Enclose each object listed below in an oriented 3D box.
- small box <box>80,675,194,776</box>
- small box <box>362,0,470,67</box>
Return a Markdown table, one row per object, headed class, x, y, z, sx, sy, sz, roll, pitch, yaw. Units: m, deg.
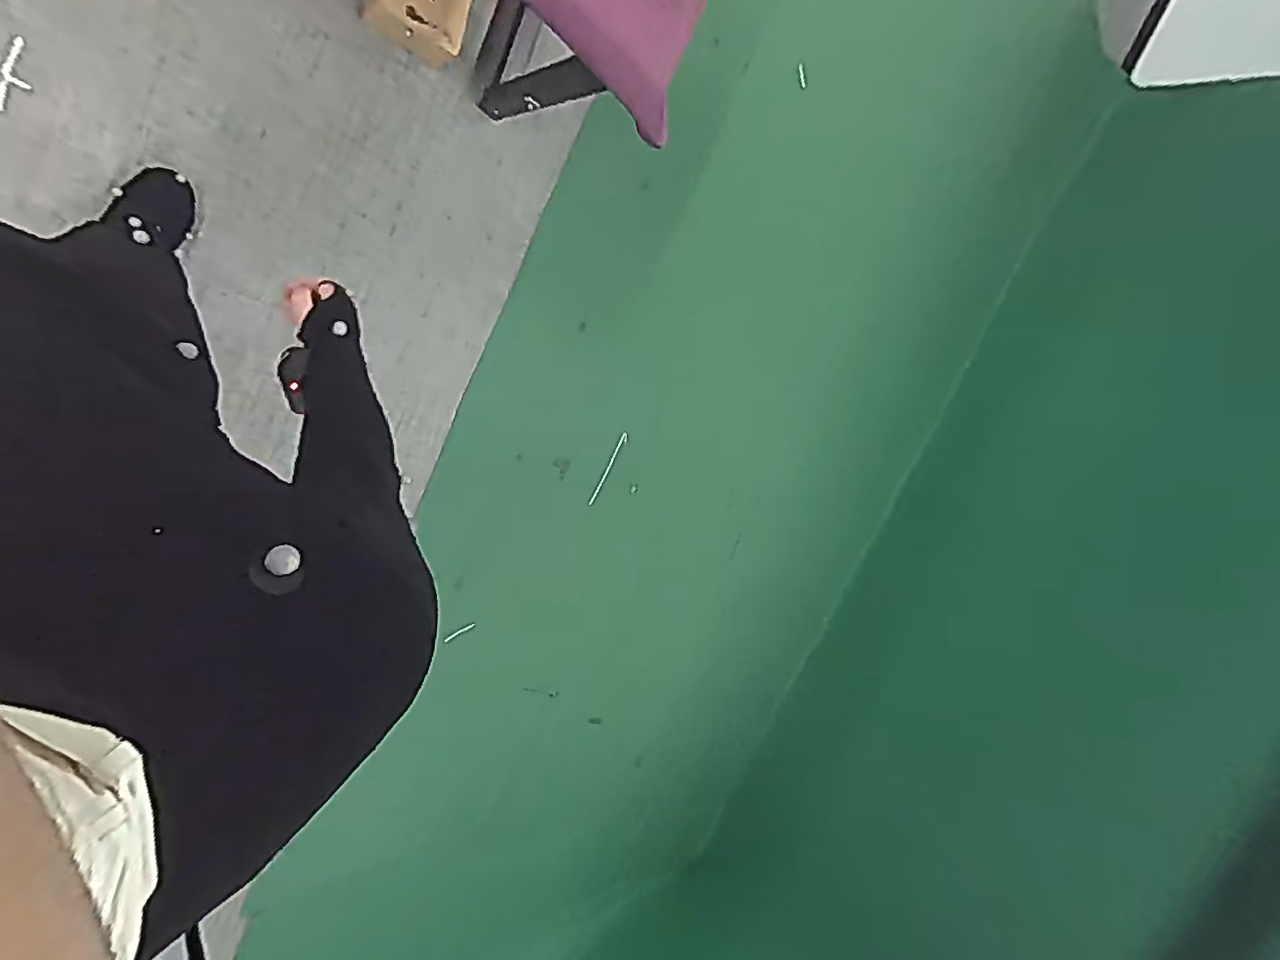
| class | x | y | z | sx | sy | sz | roll | pitch | yaw |
| --- | --- | --- | --- | --- | --- | --- | --- | --- | --- |
| small box | -1.278 | 0.617 | 1.382 | 0.179 | 0.176 | 0.168 | 20 | 99 | -45 |
| small box | -0.486 | -1.052 | 1.178 | 0.168 | 0.176 | 0.179 | 10 | 105 | -43 |
